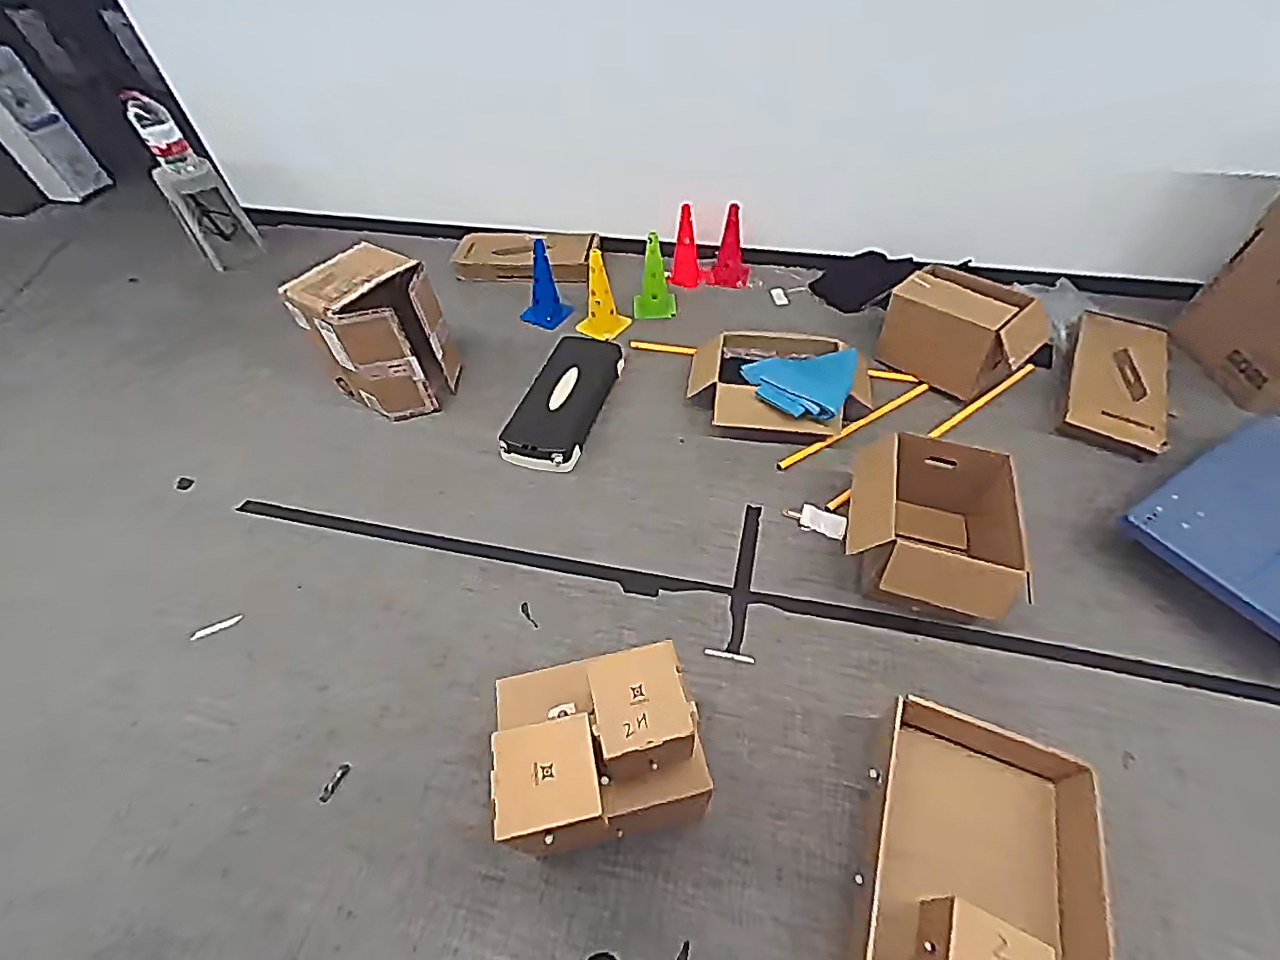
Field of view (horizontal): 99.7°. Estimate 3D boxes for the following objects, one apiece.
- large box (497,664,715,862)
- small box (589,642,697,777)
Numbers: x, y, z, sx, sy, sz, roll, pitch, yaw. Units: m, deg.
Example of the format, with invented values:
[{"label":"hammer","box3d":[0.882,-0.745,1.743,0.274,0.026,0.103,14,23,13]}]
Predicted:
[{"label":"large box","box3d":[-0.075,0.616,1.219,0.408,0.320,0.320,-13,50,-6]},{"label":"small box","box3d":[0.004,0.442,1.039,0.168,0.176,0.179,-13,52,-7]}]
